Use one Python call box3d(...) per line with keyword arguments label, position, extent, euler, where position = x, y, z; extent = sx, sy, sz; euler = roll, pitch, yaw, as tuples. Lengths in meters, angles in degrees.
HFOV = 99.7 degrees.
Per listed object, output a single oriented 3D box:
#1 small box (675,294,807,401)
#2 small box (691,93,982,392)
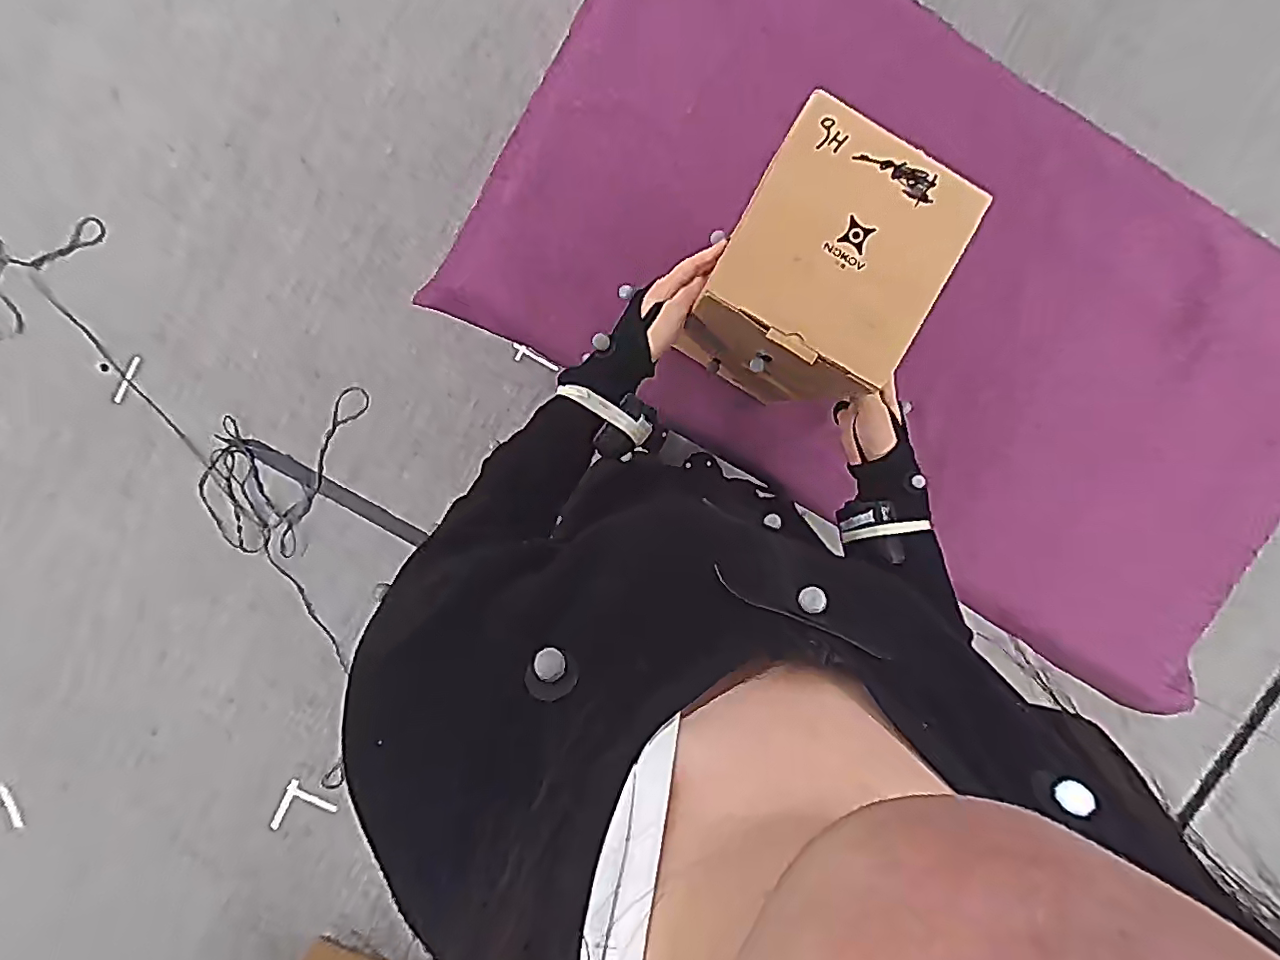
box3d(label="small box", position=(0.155, -0.211, 0.674), extent=(0.168, 0.176, 0.179), euler=(31, 94, -5))
box3d(label="small box", position=(0.160, -0.196, 0.510), extent=(0.168, 0.176, 0.179), euler=(29, 95, -5))
